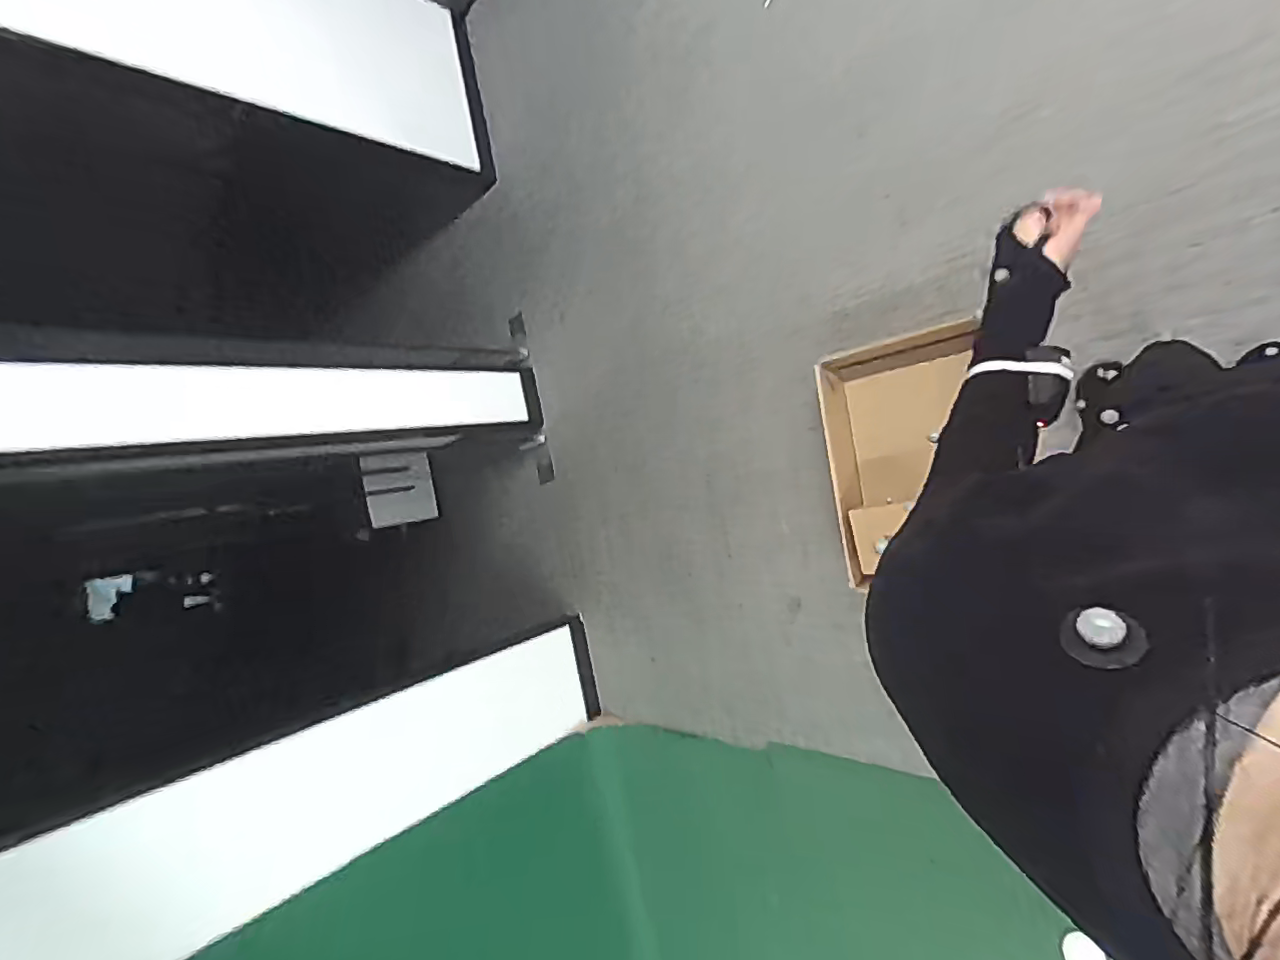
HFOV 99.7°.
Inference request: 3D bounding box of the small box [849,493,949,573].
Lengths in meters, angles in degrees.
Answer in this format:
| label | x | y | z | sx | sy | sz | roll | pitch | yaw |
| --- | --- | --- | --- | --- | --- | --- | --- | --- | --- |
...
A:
| label | x | y | z | sx | sy | sz | roll | pitch | yaw |
| --- | --- | --- | --- | --- | --- | --- | --- | --- | --- |
| small box | 0.658 | 0.132 | 1.360 | 0.179 | 0.176 | 0.168 | -13 | 87 | 44 |
